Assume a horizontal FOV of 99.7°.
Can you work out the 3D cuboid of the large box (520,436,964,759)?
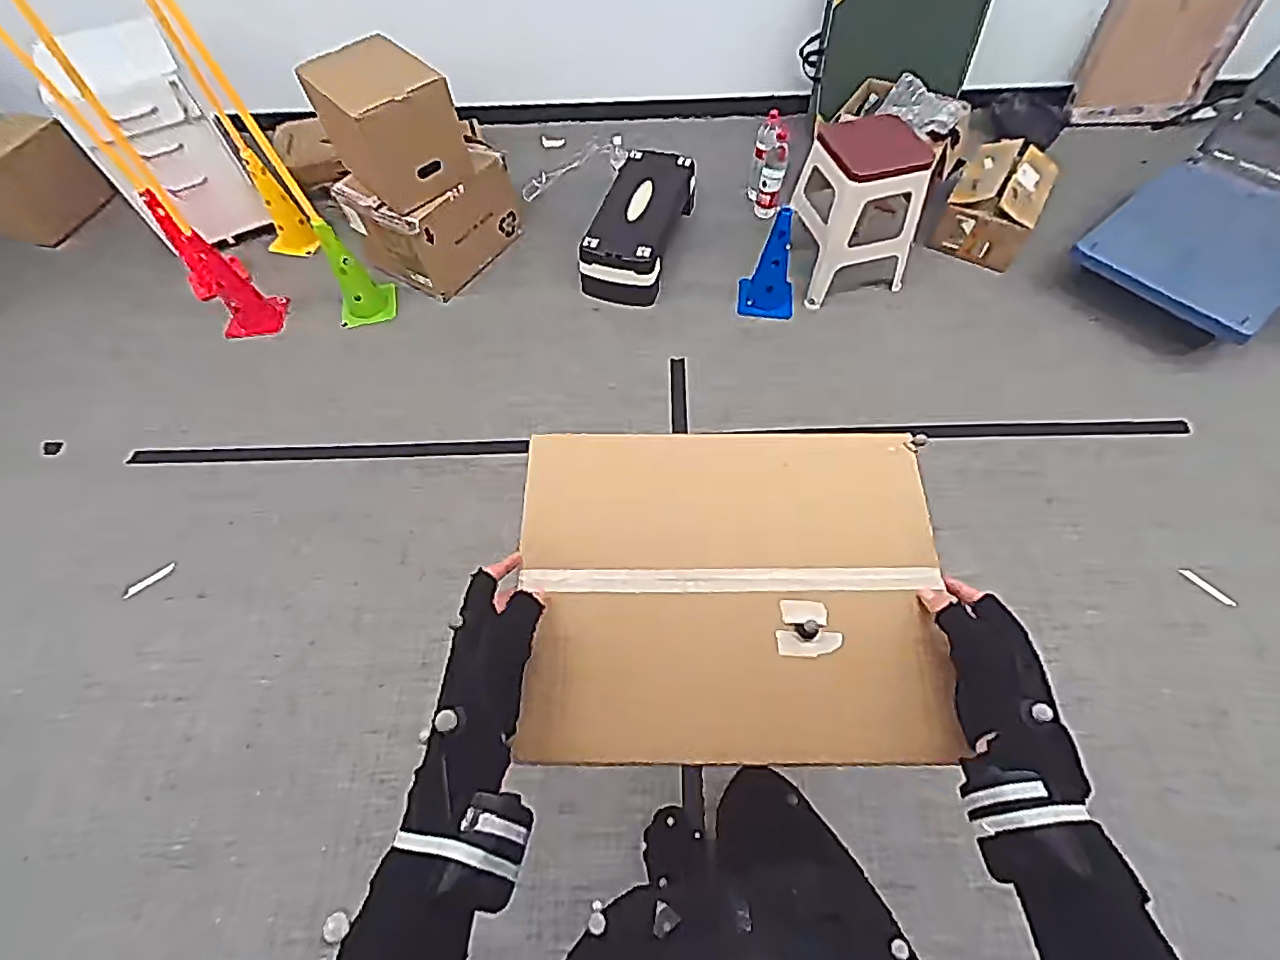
[{"bbox_3d":[0.086,0.153,0.669,0.408,0.320,0.320,0,68,0],"label":"large box"}]
